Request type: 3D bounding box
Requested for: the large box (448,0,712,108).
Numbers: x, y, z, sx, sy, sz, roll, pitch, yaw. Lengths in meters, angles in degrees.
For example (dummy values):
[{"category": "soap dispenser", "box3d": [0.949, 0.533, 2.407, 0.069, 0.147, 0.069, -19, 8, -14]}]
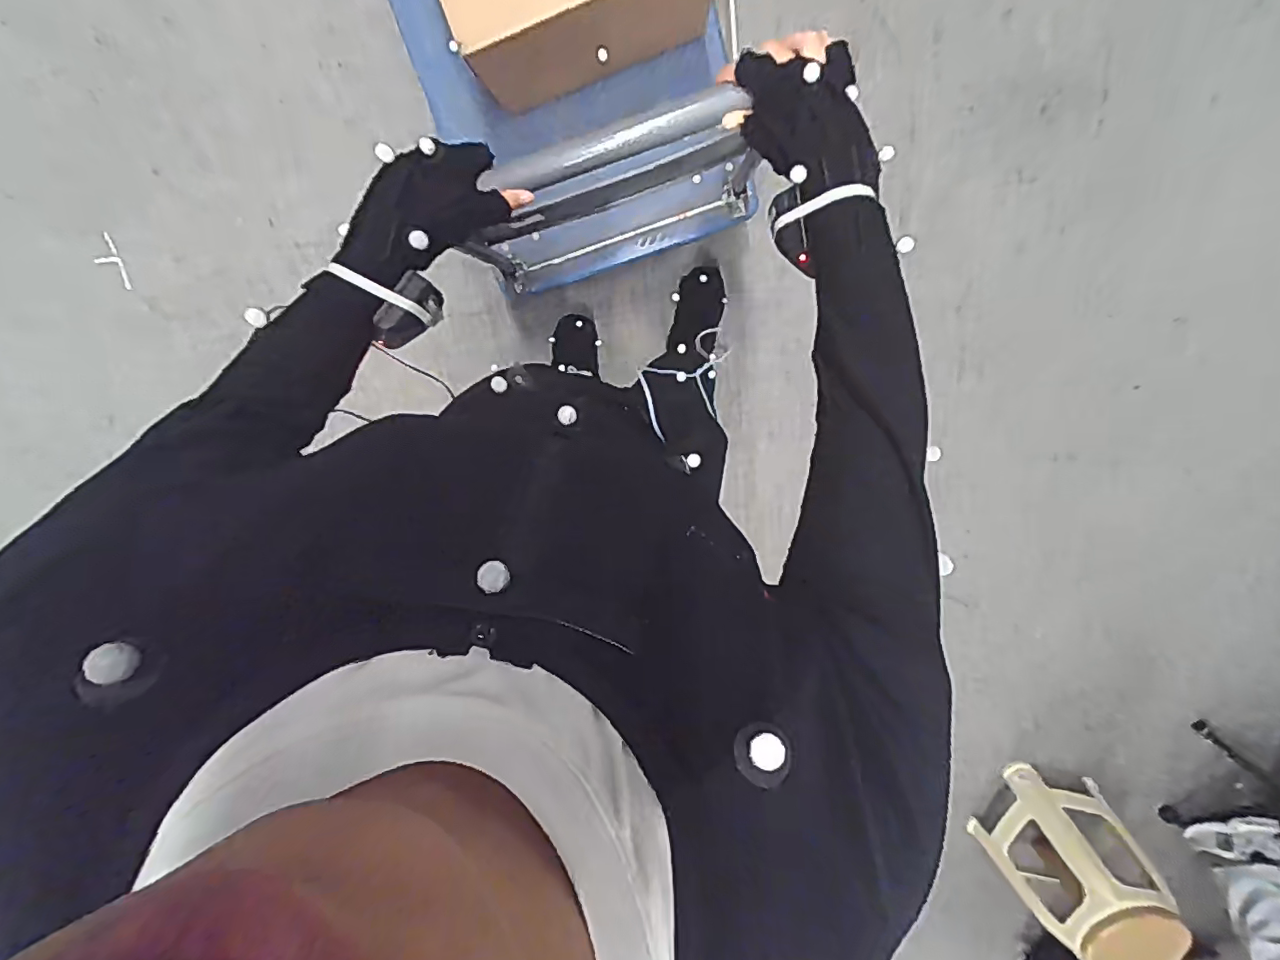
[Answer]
[{"category": "large box", "box3d": [-0.112, -0.874, 0.860, 0.408, 0.320, 0.320, -18, 109, 8]}]
